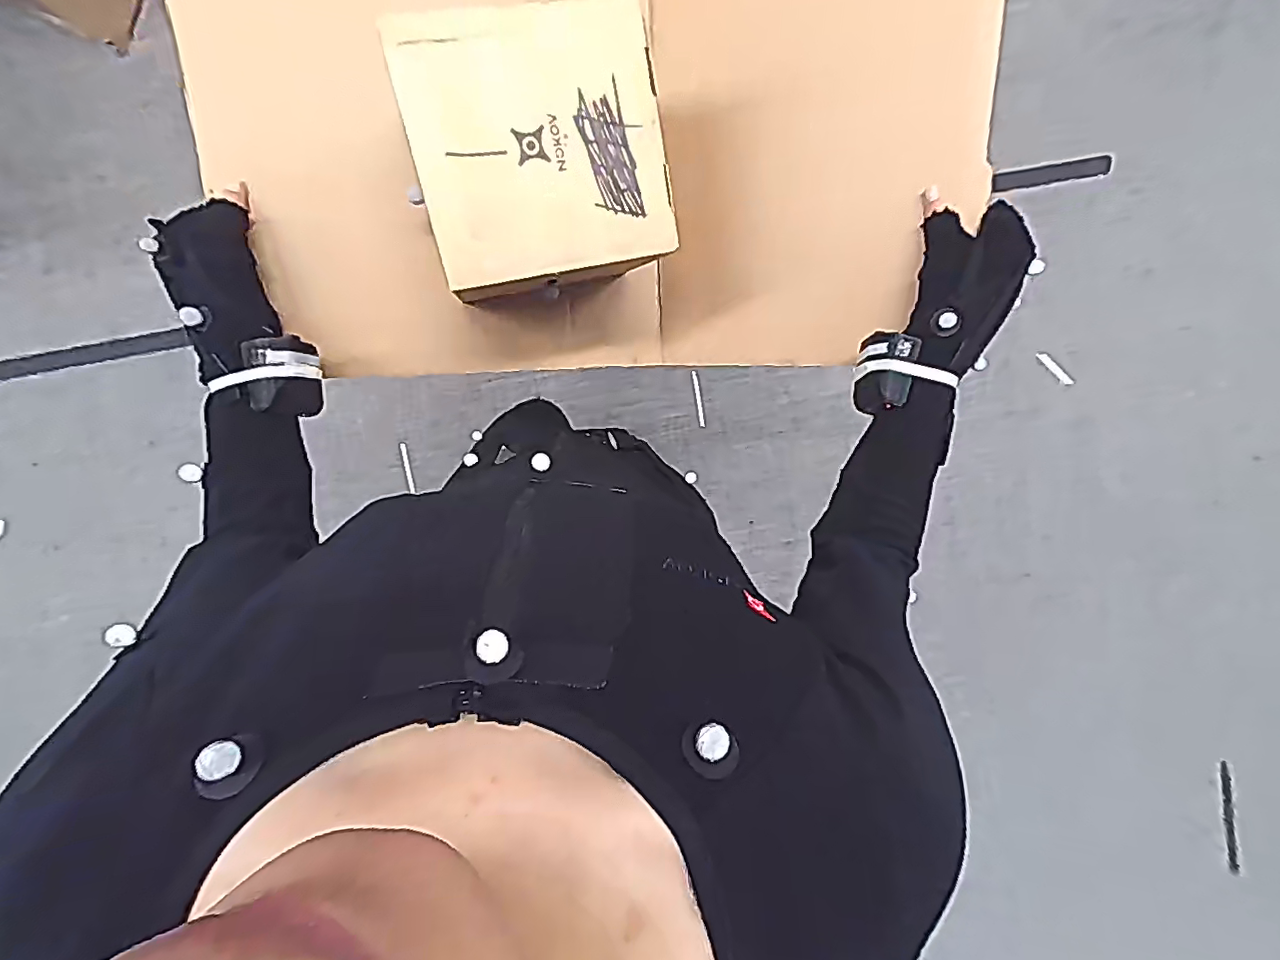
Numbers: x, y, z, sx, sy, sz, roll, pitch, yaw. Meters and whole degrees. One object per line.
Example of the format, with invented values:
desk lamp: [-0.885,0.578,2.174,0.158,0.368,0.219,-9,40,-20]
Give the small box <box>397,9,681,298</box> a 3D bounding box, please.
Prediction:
small box: [-0.083,-0.255,0.459,0.179,0.176,0.168,-14,108,-11]
